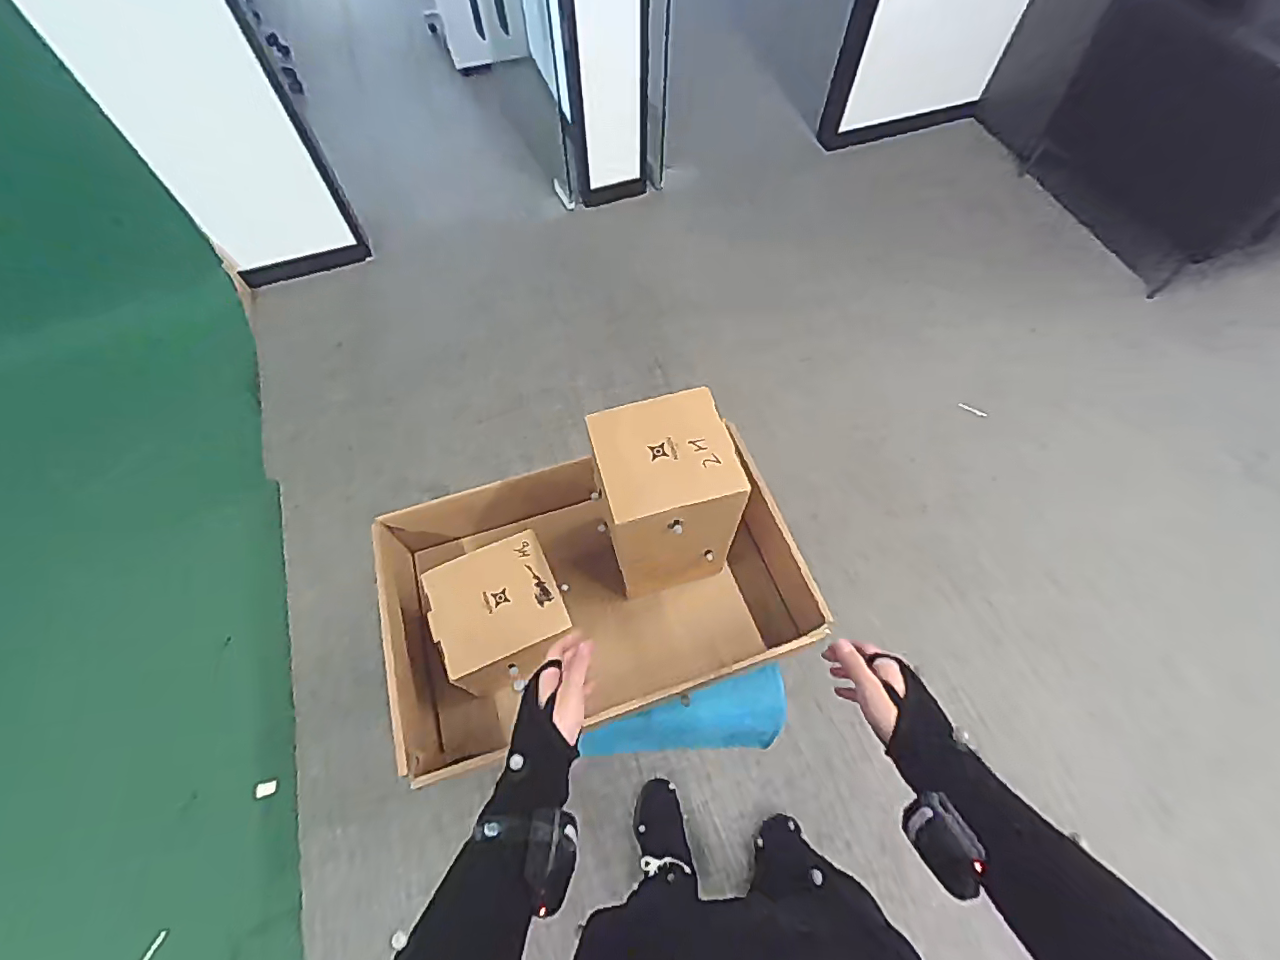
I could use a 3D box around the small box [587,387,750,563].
[{"bbox_3d":[0.035,0.001,0.755,0.179,0.176,0.168,-14,63,-7],"label":"small box"}]
